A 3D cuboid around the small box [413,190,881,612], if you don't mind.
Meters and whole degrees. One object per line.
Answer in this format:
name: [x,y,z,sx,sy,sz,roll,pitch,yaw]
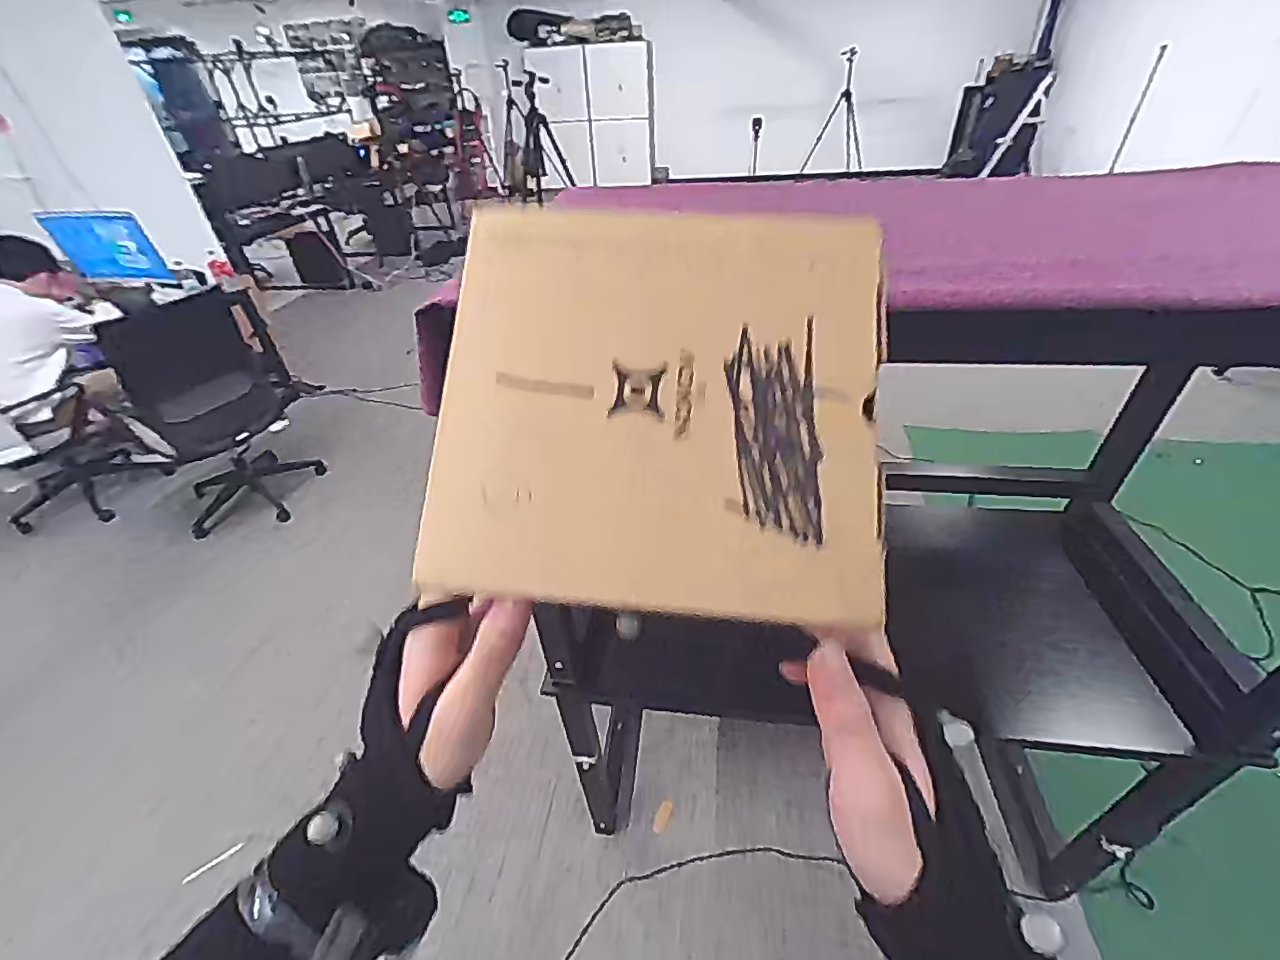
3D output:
small box: [0.010,-0.024,0.294,0.179,0.176,0.168,5,78,4]
